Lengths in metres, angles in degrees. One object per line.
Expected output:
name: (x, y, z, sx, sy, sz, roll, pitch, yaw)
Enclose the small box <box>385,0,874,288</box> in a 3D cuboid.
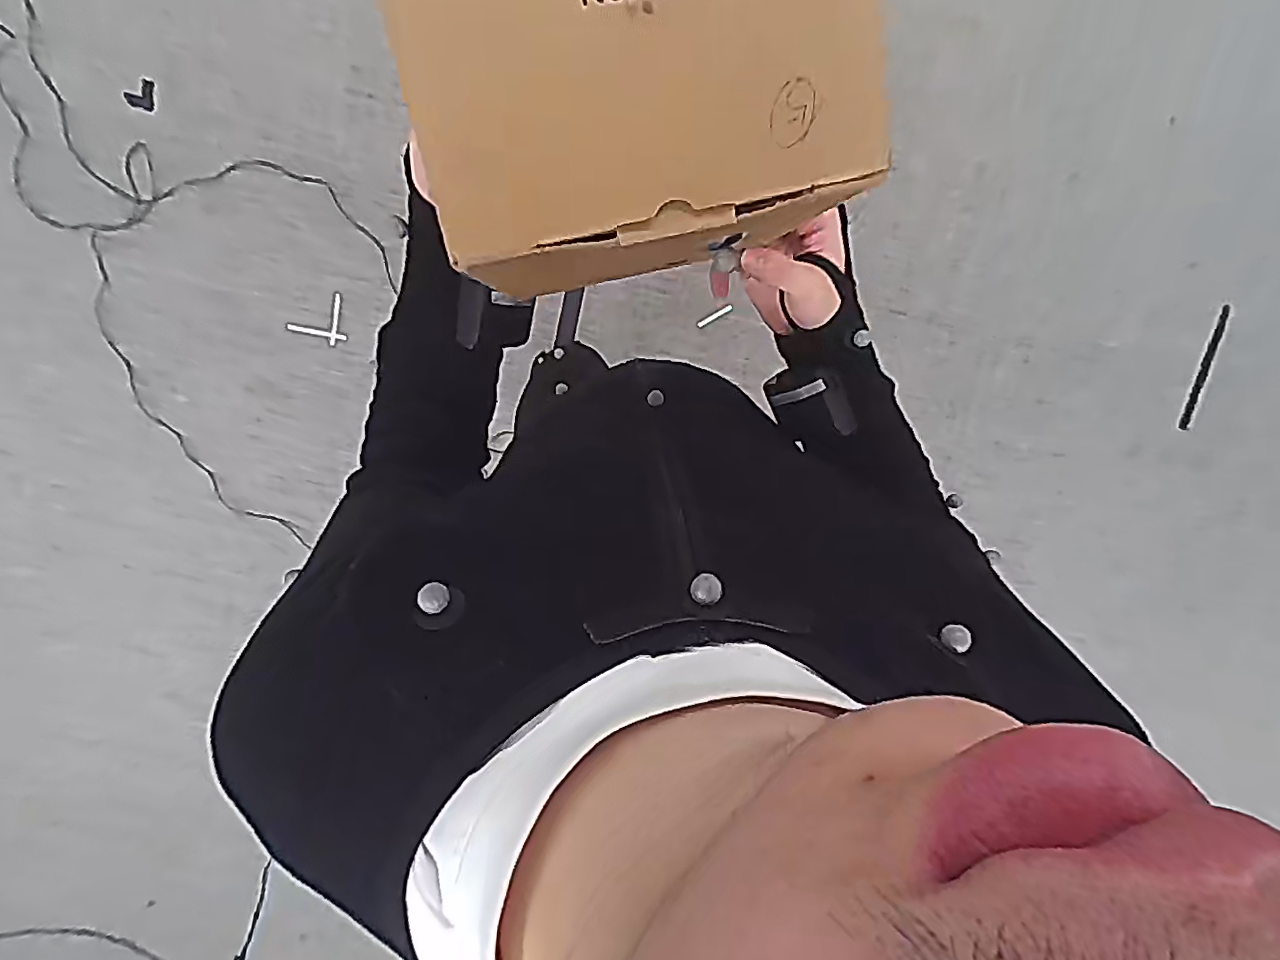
small box: (-0.012, -0.199, 0.261, 0.168, 0.176, 0.179, -14, 105, -2)
